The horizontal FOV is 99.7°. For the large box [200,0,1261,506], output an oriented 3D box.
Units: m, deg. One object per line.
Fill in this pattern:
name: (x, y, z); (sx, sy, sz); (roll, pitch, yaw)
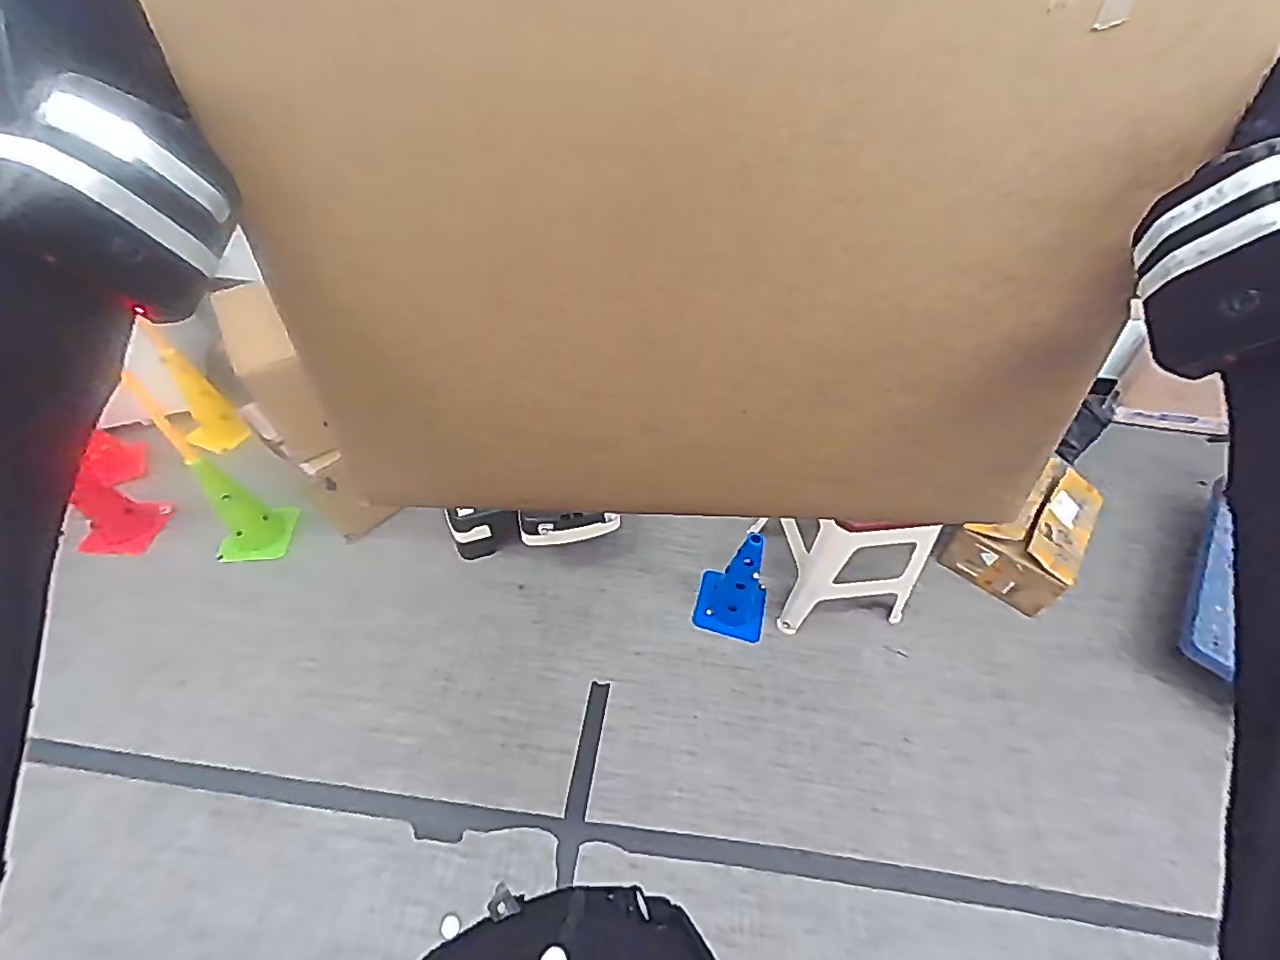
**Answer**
large box: (0.032, -0.194, 0.371); (0.408, 0.320, 0.320); (2, 39, 2)
